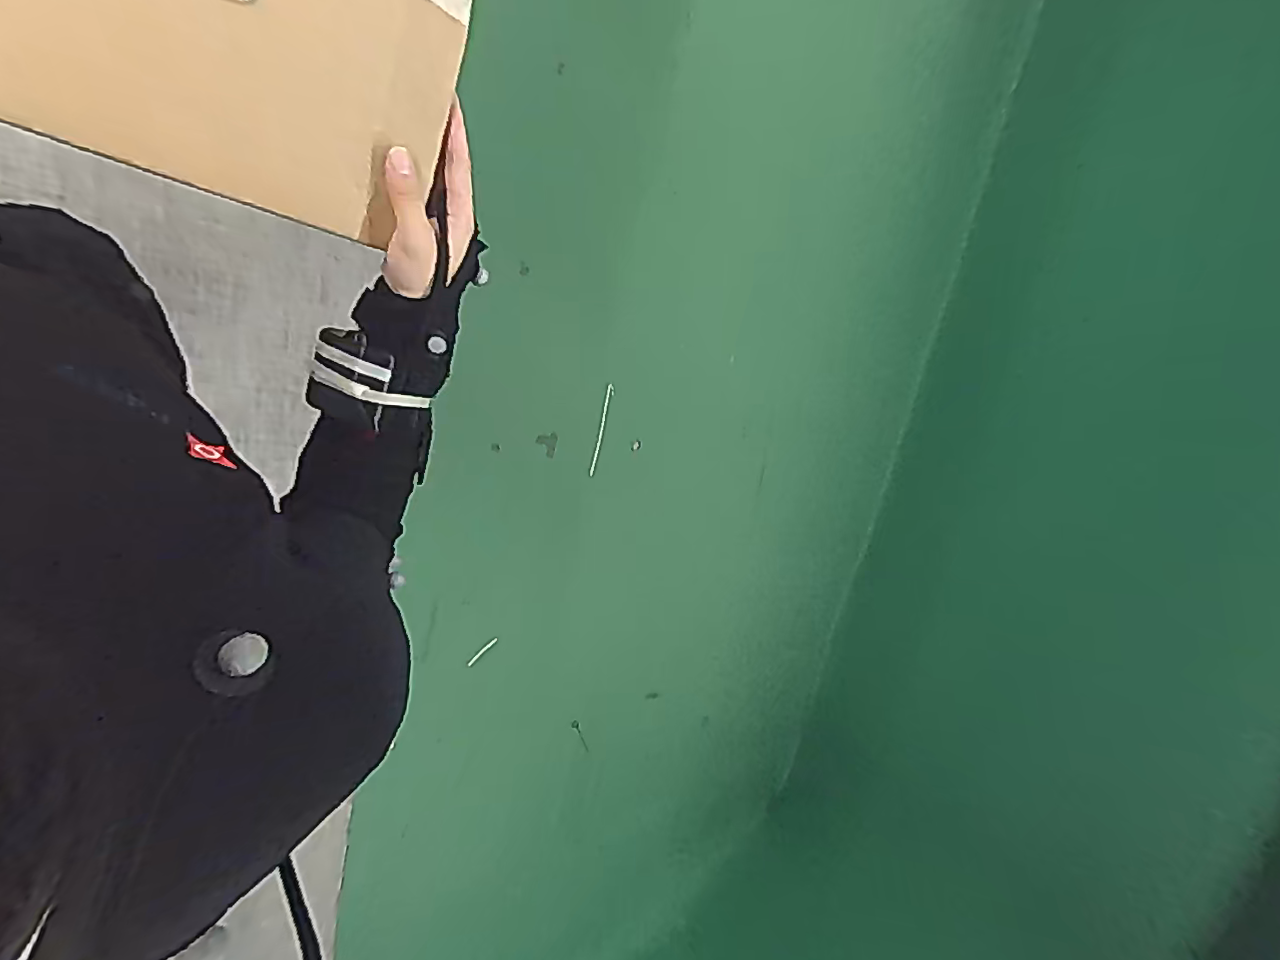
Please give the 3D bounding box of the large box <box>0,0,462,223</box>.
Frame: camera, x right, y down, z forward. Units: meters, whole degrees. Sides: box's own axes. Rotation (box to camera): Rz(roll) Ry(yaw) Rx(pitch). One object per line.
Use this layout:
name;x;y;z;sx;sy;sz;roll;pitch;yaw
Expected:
large box;-0.345;-0.386;0.291;0.408;0.320;0.320;2;116;-48
